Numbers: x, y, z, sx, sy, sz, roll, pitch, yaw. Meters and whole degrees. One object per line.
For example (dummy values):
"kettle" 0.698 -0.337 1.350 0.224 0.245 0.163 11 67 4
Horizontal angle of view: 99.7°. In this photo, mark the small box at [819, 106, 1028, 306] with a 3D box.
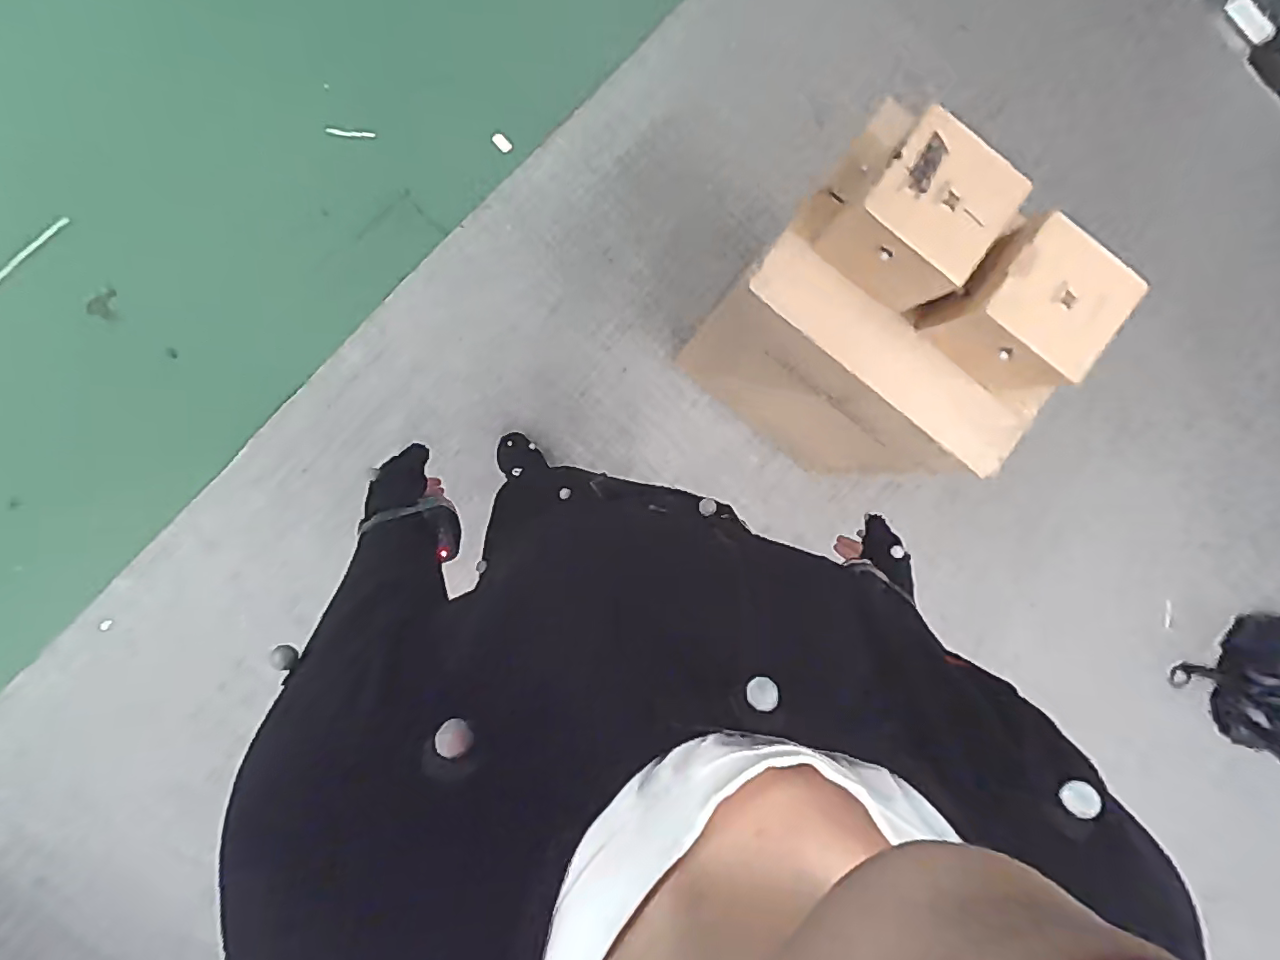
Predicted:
"small box" 0.398 -0.381 0.795 0.179 0.176 0.168 35 92 -7

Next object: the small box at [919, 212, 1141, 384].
"small box" 0.571 -0.257 0.819 0.179 0.176 0.168 34 93 -8
